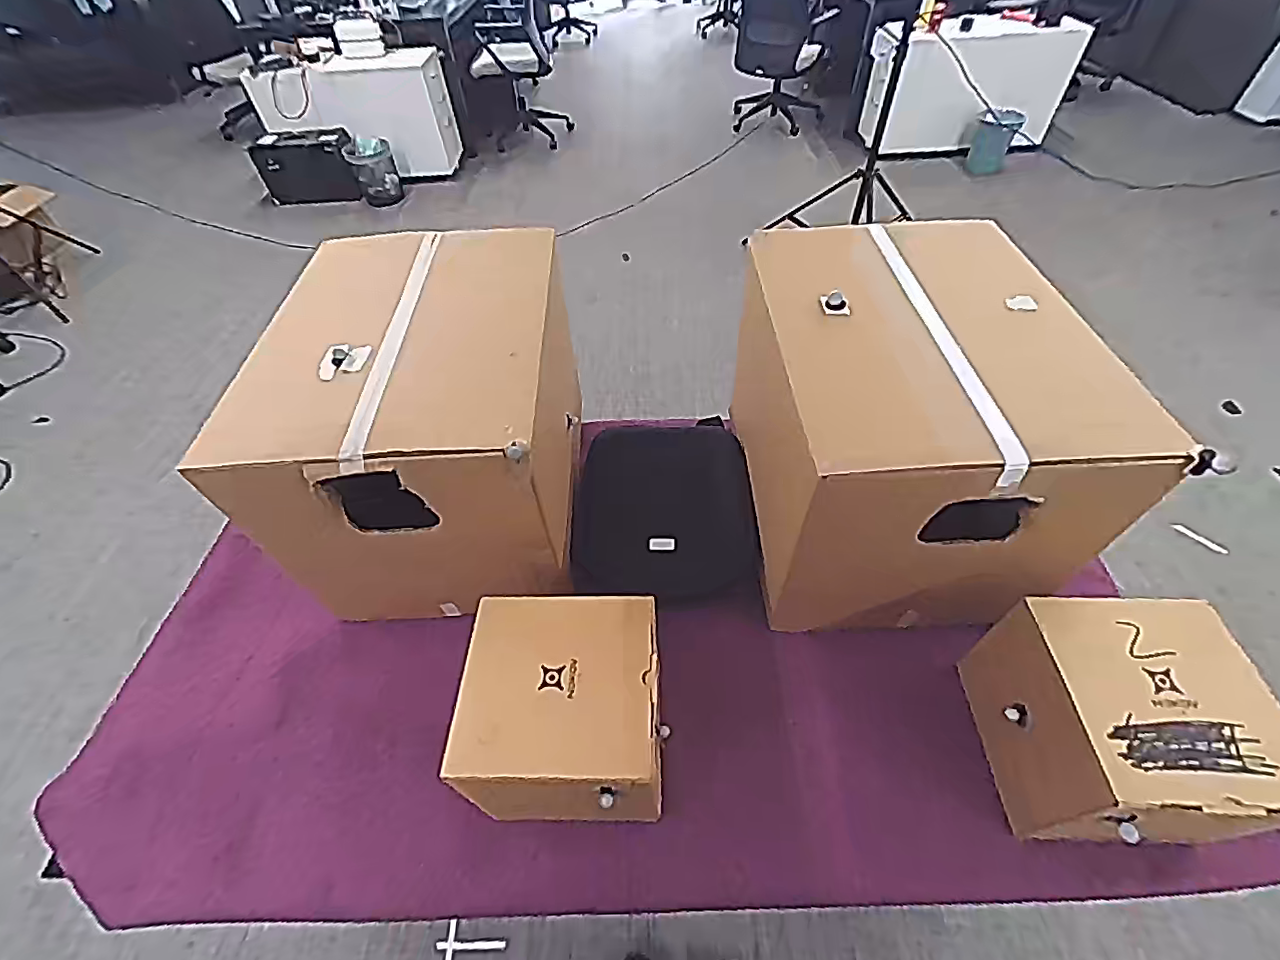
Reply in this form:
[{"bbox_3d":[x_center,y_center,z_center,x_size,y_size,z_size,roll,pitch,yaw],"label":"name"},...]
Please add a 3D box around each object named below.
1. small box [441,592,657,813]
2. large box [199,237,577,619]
[{"bbox_3d":[-0.073,0.229,0.549,0.179,0.176,0.168,-1,49,2],"label":"small box"},{"bbox_3d":[-0.252,-0.071,0.720,0.320,0.320,0.408,-4,52,0],"label":"large box"}]
